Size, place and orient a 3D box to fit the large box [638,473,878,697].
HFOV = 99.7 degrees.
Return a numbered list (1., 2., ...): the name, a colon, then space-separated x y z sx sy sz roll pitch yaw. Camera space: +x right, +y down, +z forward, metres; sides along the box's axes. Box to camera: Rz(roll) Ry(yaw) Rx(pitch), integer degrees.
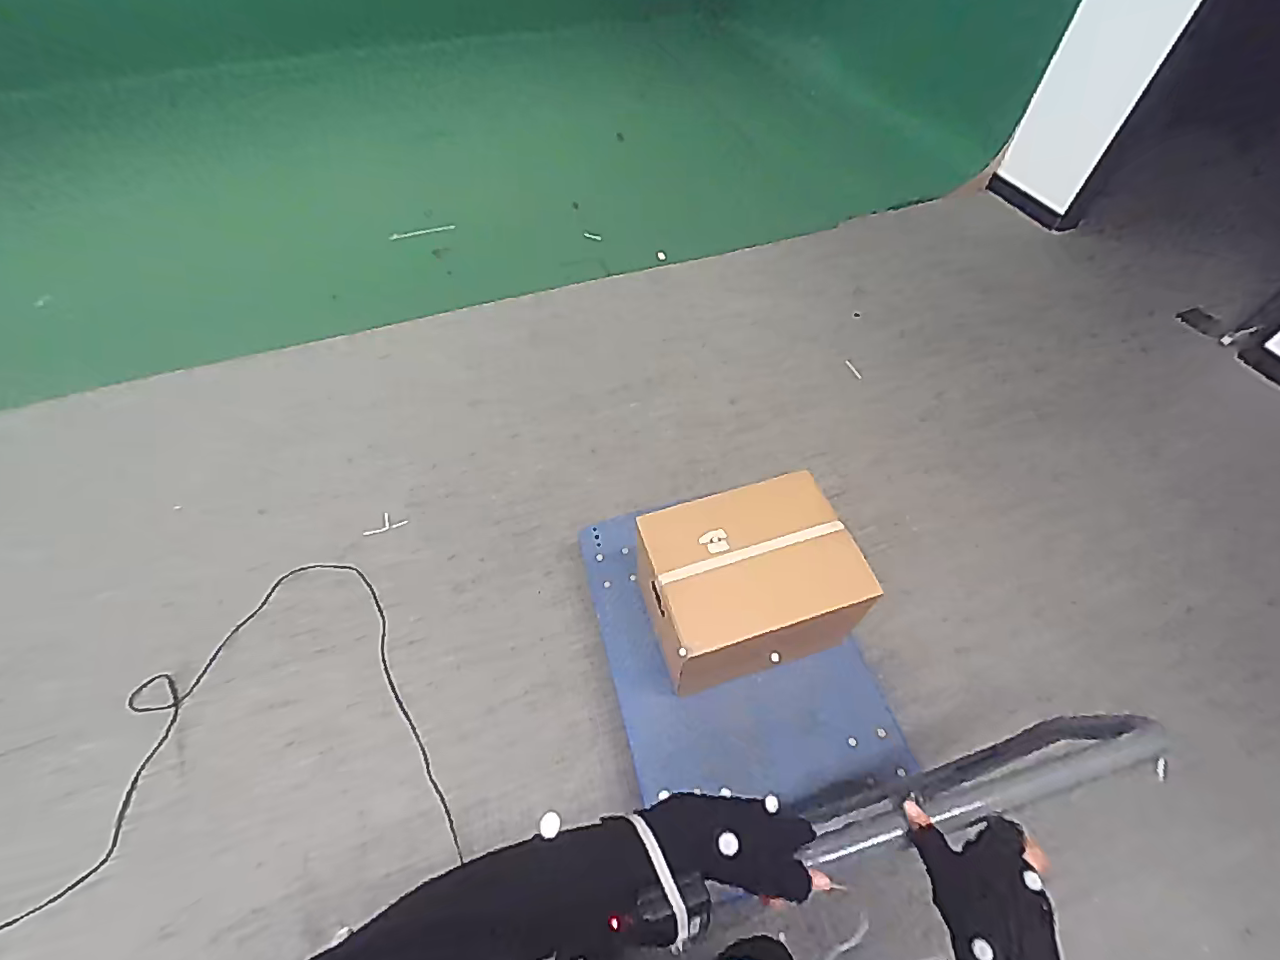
1. large box: 0.234 0.239 1.214 0.408 0.320 0.320 -16 56 -9
